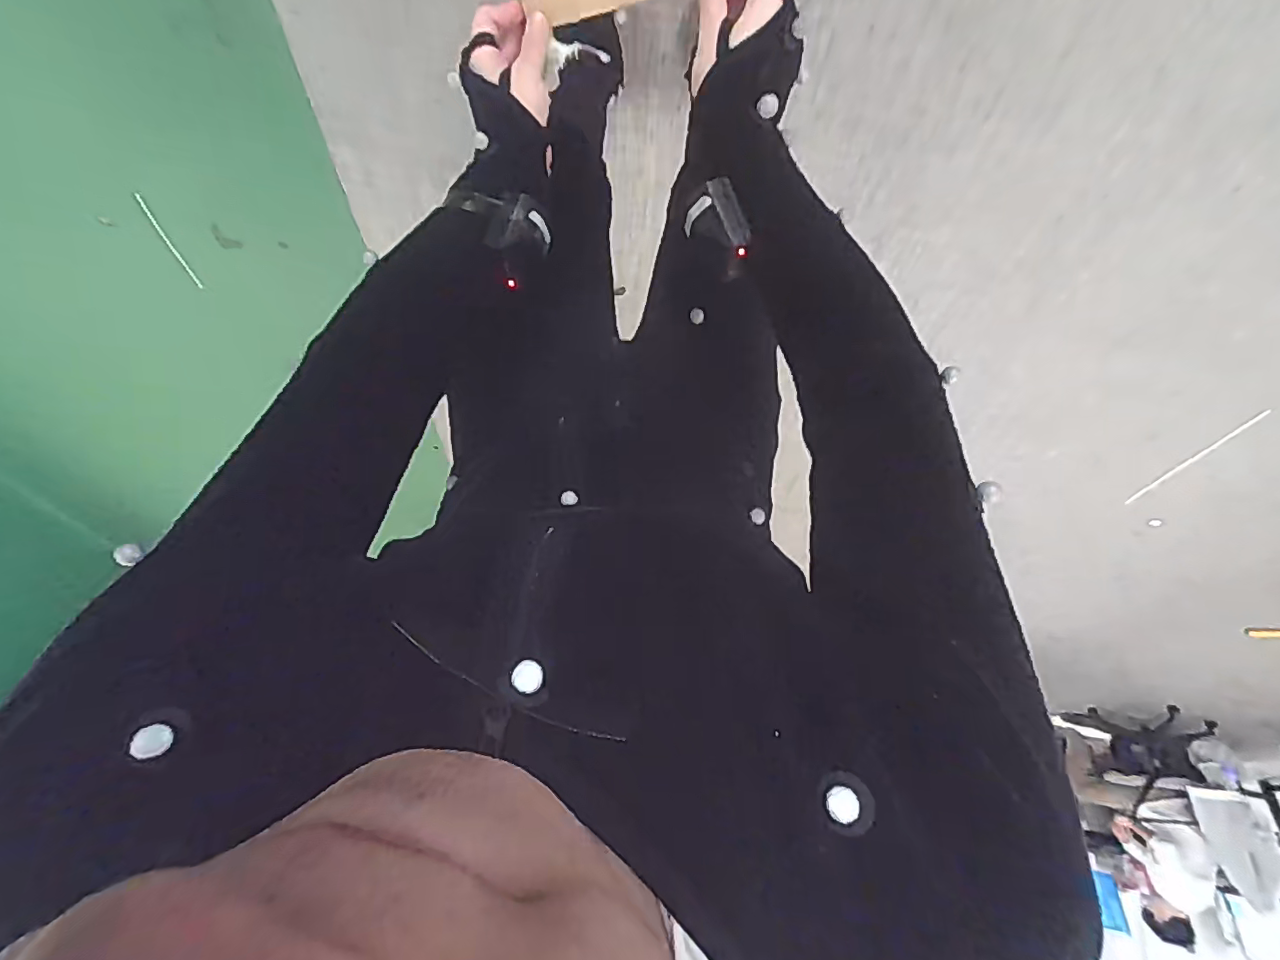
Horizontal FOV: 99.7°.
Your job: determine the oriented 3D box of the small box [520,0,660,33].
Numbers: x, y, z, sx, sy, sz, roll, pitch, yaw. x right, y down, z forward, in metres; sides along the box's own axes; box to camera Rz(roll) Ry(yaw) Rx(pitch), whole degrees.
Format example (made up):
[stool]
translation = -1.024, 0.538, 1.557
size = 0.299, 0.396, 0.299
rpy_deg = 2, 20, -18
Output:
[small box]
translation = -0.016, -0.513, 0.457
size = 0.179, 0.176, 0.168
rpy_deg = 0, 137, 19
